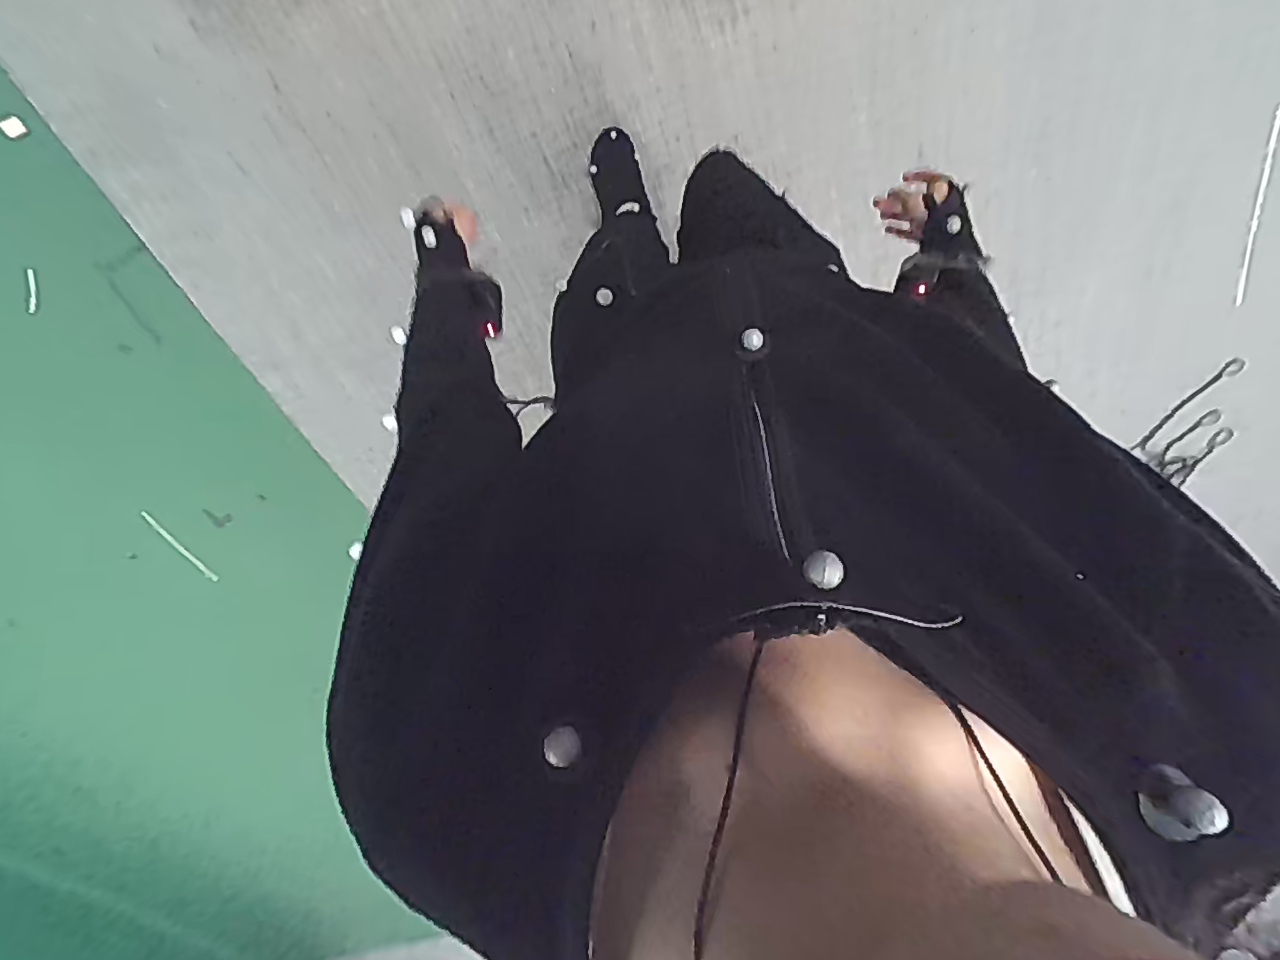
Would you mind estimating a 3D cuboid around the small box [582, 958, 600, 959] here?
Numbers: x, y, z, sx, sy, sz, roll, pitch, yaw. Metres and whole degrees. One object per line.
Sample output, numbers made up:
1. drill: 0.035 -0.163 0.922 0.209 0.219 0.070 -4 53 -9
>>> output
1. small box: -0.155 1.434 1.467 0.168 0.176 0.179 -21 123 10
